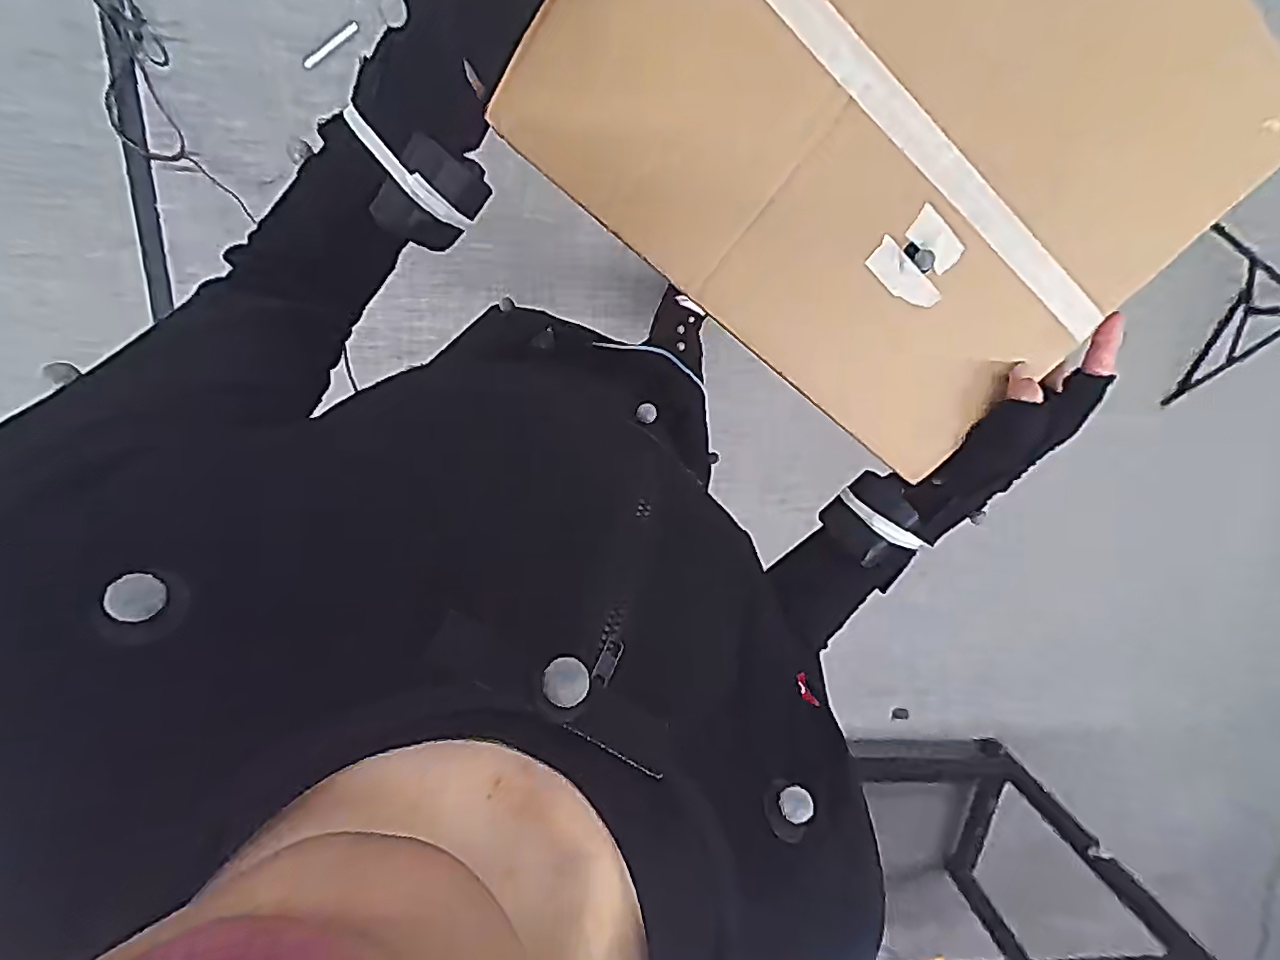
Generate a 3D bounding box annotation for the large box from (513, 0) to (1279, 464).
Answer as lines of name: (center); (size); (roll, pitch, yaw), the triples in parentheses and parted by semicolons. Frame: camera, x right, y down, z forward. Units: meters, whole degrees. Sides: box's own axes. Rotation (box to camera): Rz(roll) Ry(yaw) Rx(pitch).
large box: (0.162, -0.292, 0.473); (0.408, 0.320, 0.320); (35, 113, -17)
